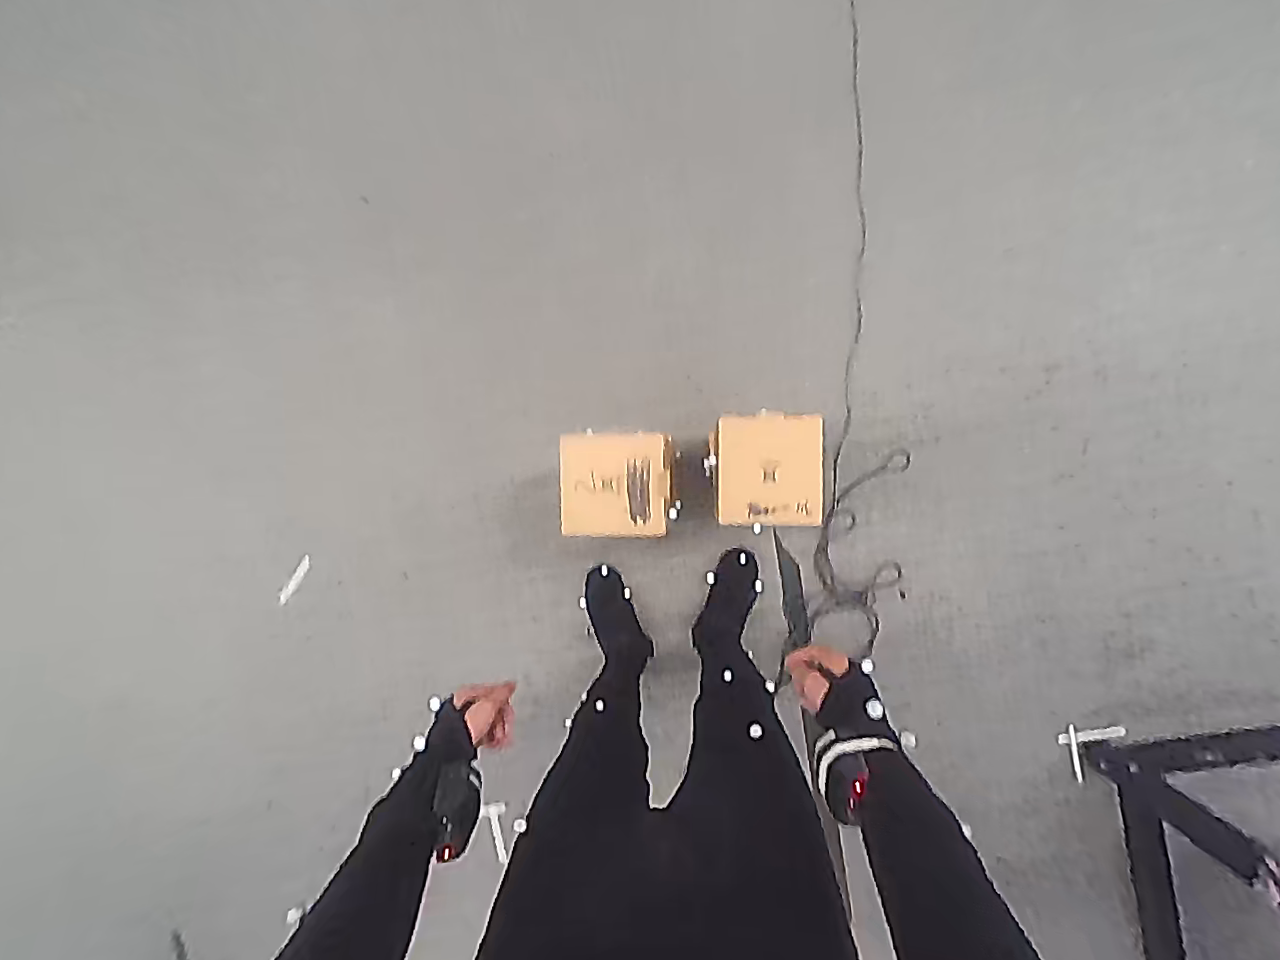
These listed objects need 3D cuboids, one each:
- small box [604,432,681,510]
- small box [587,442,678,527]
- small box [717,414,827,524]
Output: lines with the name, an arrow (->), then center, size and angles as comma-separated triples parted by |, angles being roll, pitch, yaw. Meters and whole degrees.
small box -> 0.010, -0.016, 1.287 | 0.168, 0.176, 0.179 | -4, 92, 6
small box -> -0.010, 0.005, 1.126 | 0.179, 0.176, 0.168 | 0, 92, 6
small box -> 0.221, -0.018, 0.941 | 0.168, 0.176, 0.179 | 0, 91, 6
